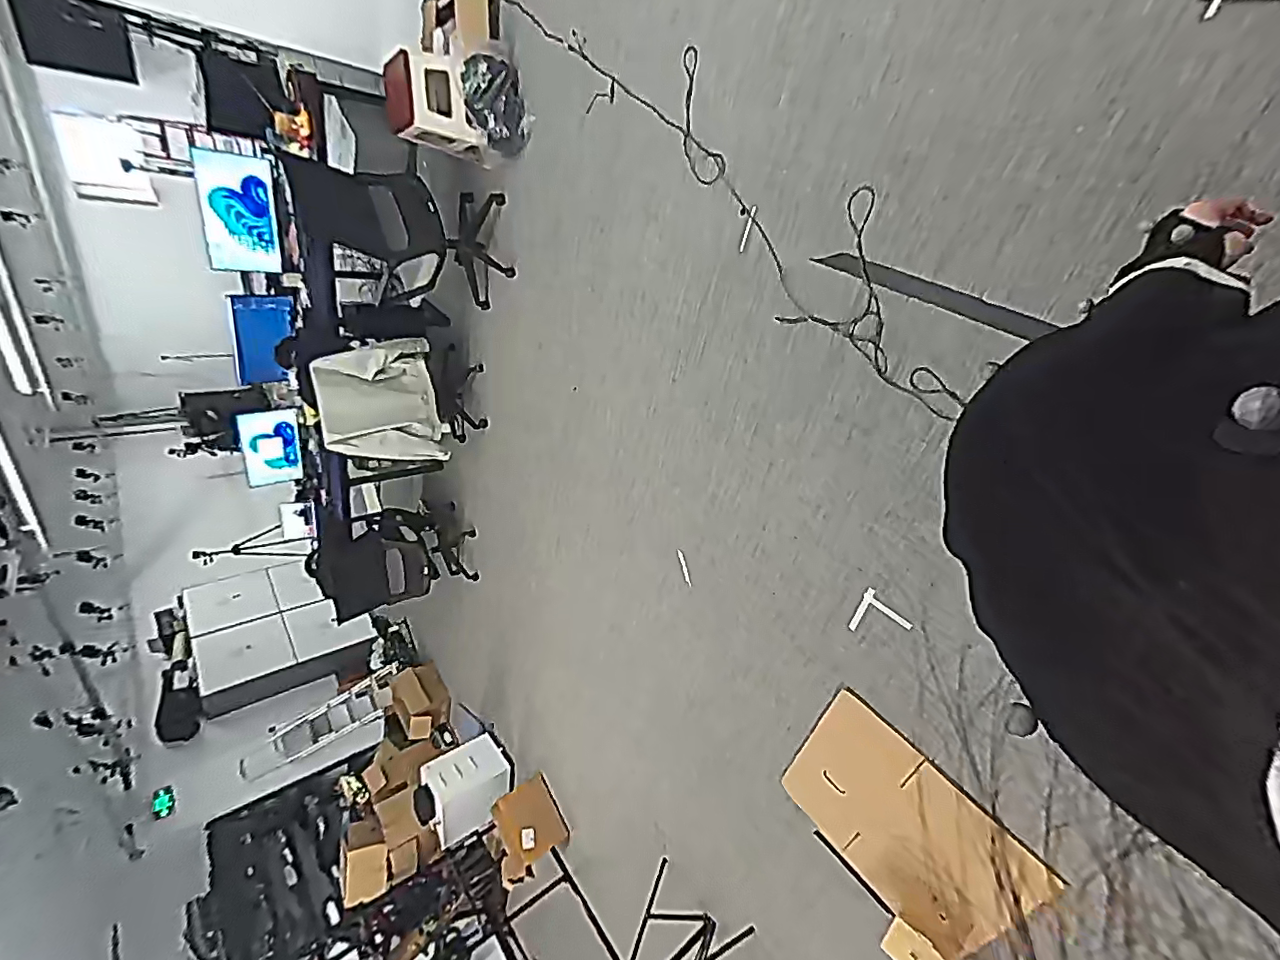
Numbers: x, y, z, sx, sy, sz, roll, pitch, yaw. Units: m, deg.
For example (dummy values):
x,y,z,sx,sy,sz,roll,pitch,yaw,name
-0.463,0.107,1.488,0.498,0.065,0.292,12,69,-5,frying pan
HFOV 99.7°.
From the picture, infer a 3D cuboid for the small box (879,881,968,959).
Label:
x,y,z,sx,sy,sz,roll,pitch,yaw,name
0.866,1.388,1.647,0.168,0.176,0.179,30,122,40,small box
